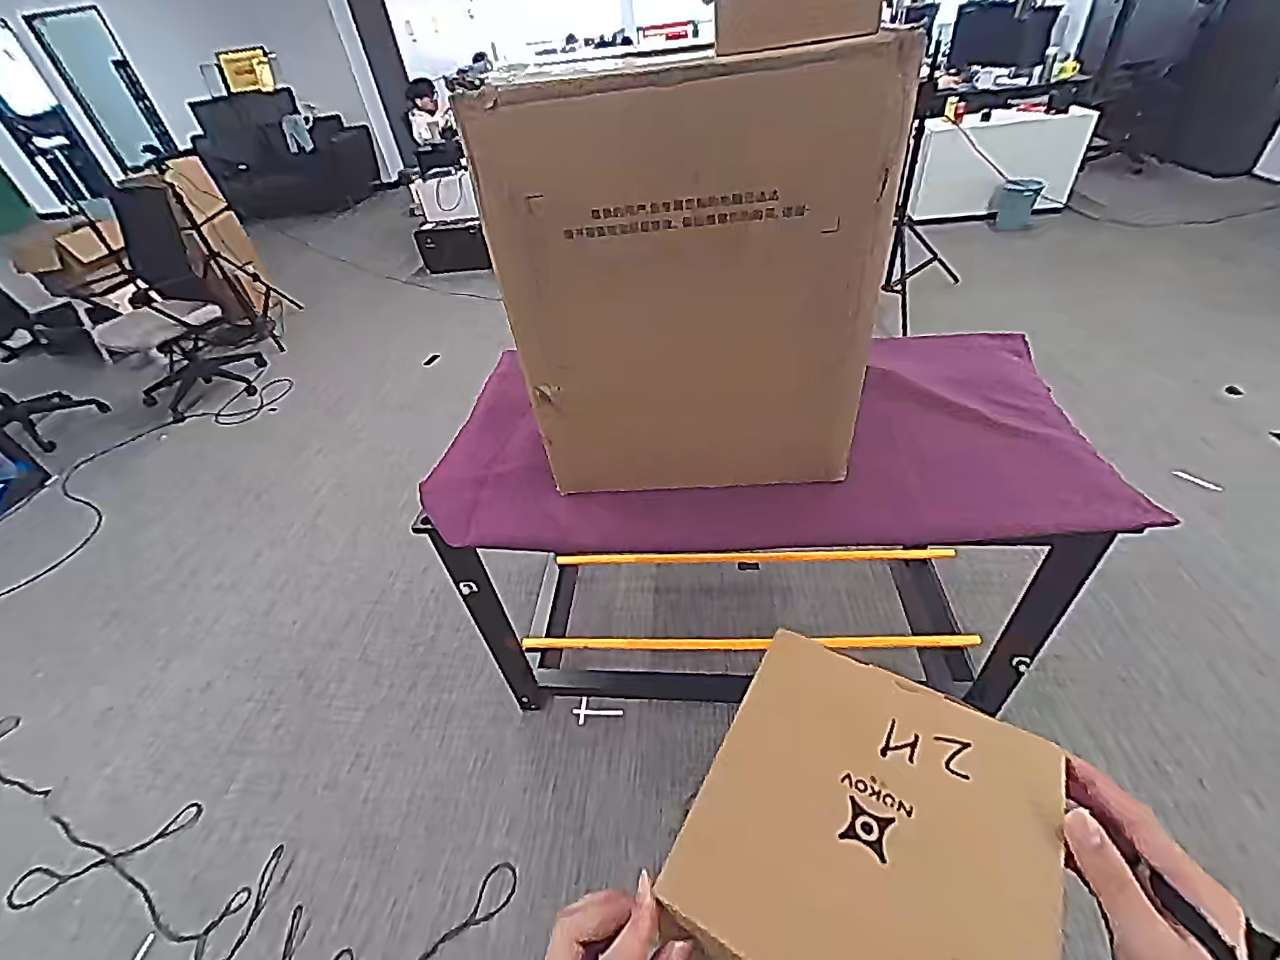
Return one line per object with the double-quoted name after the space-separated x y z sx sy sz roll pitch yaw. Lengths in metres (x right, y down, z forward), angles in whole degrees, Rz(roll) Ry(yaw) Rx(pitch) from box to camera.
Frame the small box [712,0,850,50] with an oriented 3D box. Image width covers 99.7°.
0.184 -0.693 0.724 0.179 0.176 0.168 -3 40 7 "small box"
